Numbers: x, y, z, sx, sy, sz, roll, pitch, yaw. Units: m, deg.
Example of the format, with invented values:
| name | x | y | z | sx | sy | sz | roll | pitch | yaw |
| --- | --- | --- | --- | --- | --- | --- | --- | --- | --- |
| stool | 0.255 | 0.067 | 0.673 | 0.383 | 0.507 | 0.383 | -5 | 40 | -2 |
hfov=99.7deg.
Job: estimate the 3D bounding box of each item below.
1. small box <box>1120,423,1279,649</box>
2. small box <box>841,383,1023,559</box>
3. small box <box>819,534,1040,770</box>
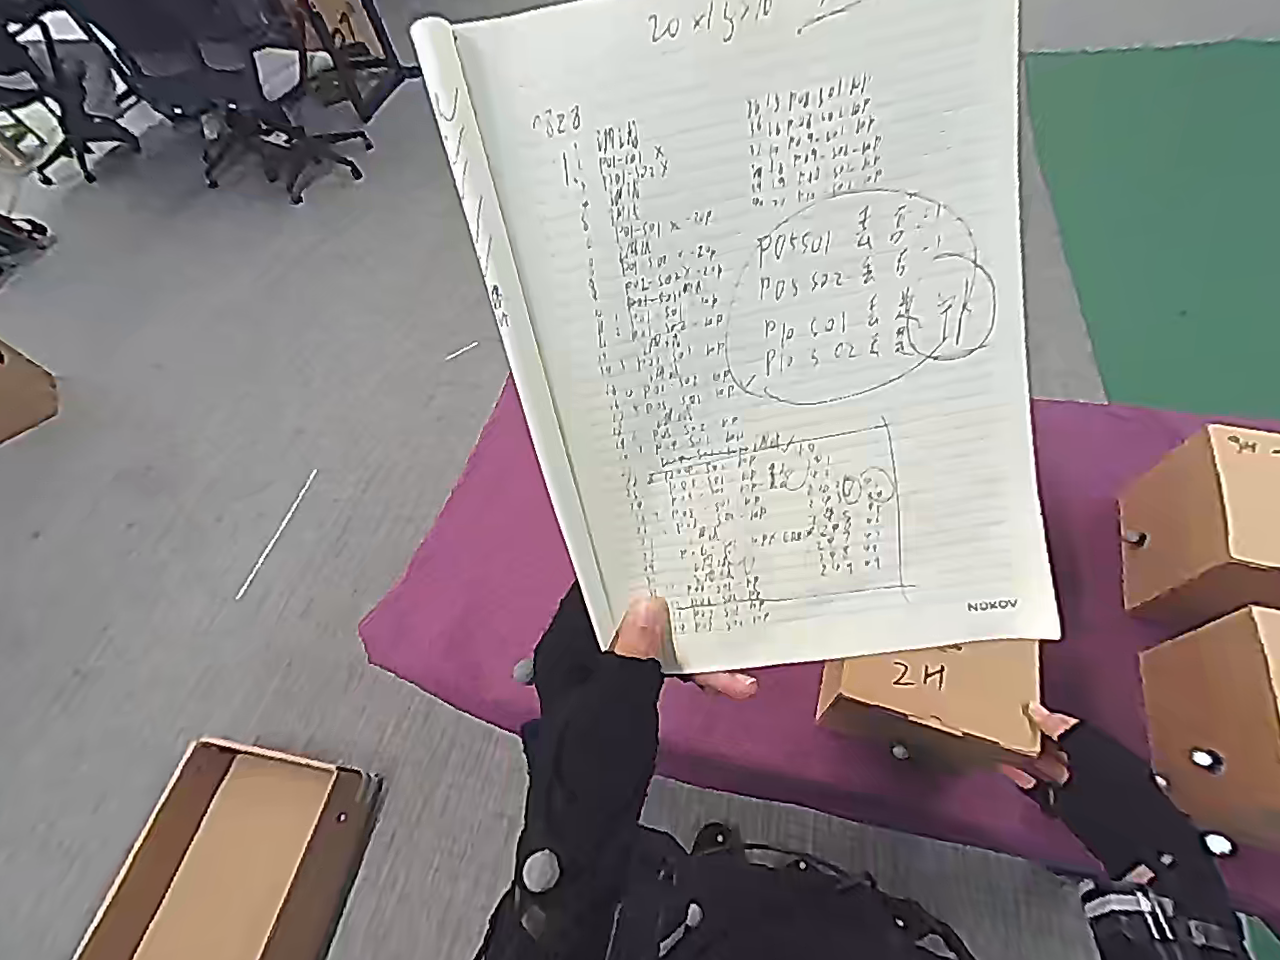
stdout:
| name | x | y | z | sx | sy | sz | roll | pitch | yaw |
| --- | --- | --- | --- | --- | --- | --- | --- | --- | --- |
| small box | 0.681 | 0.068 | 0.602 | 0.168 | 0.176 | 0.179 | 15 | 62 | 17 |
| small box | 0.362 | 0.001 | 0.700 | 0.168 | 0.176 | 0.179 | 8 | 59 | 14 |
| small box | 0.300 | 0.189 | 0.585 | 0.168 | 0.176 | 0.179 | 13 | 60 | 17 |
